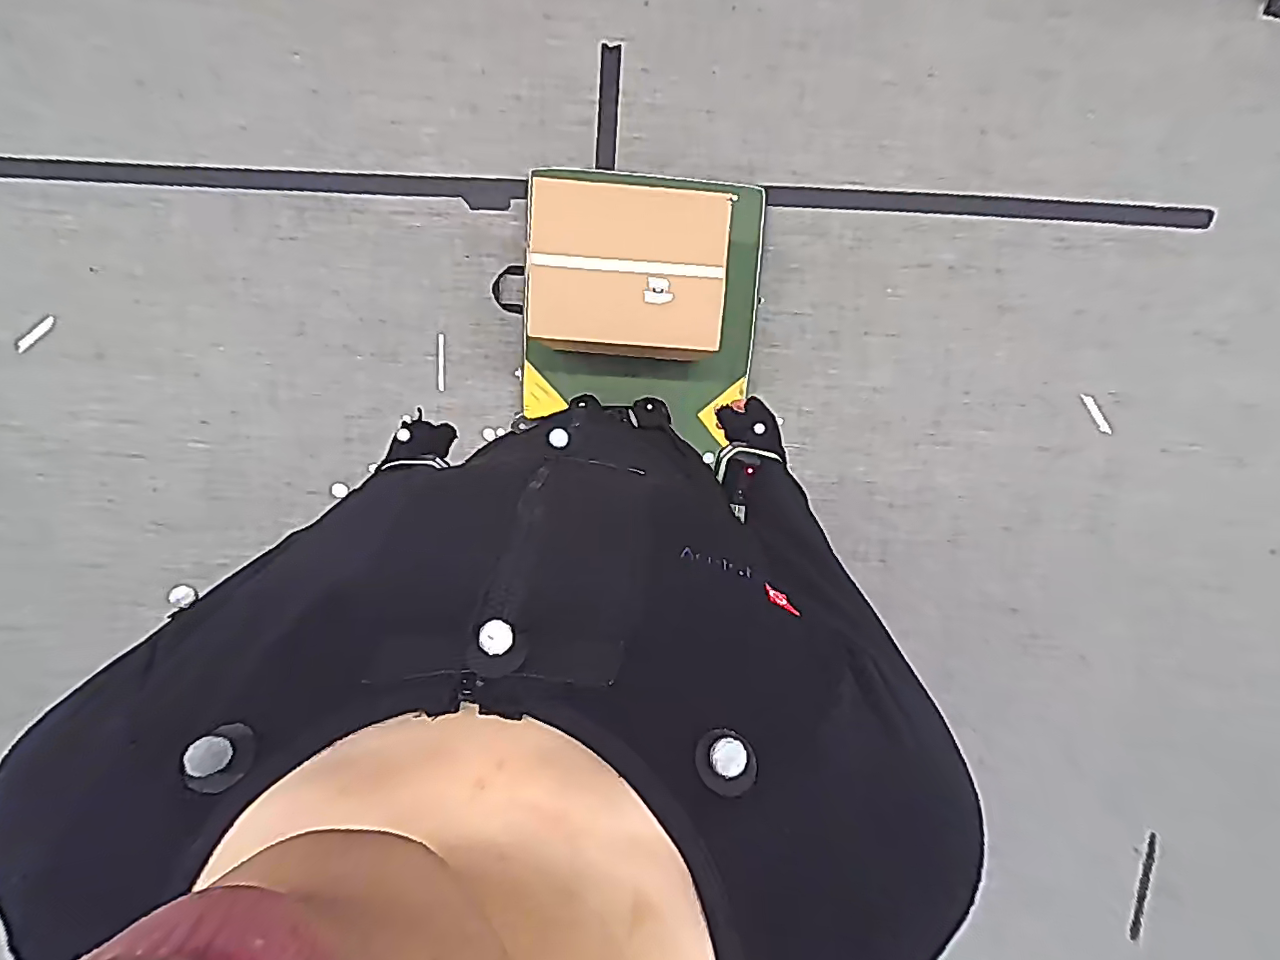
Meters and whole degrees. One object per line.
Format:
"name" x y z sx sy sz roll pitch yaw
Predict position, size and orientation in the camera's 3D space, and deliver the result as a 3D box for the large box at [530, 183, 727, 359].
"large box" -0.033 -0.462 1.268 0.408 0.320 0.320 3 99 -2
